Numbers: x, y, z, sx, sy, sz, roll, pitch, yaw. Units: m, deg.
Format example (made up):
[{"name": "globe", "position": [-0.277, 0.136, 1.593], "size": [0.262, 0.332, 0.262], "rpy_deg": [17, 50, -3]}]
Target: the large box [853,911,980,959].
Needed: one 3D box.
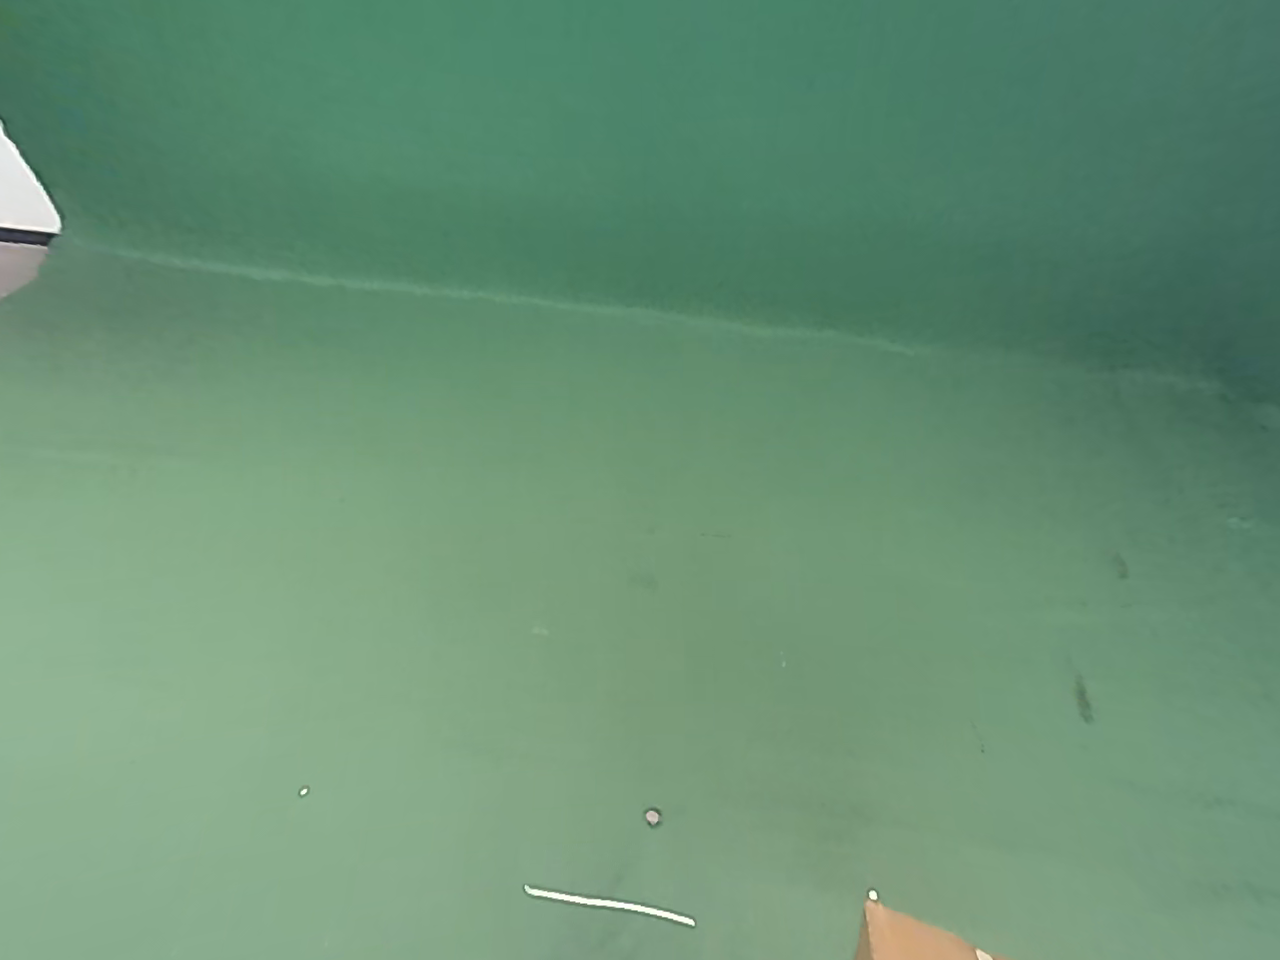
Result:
[{"name": "large box", "position": [0.379, 0.800, 0.569], "size": [0.320, 0.408, 0.320], "rpy_deg": [16, 87, 19]}]
